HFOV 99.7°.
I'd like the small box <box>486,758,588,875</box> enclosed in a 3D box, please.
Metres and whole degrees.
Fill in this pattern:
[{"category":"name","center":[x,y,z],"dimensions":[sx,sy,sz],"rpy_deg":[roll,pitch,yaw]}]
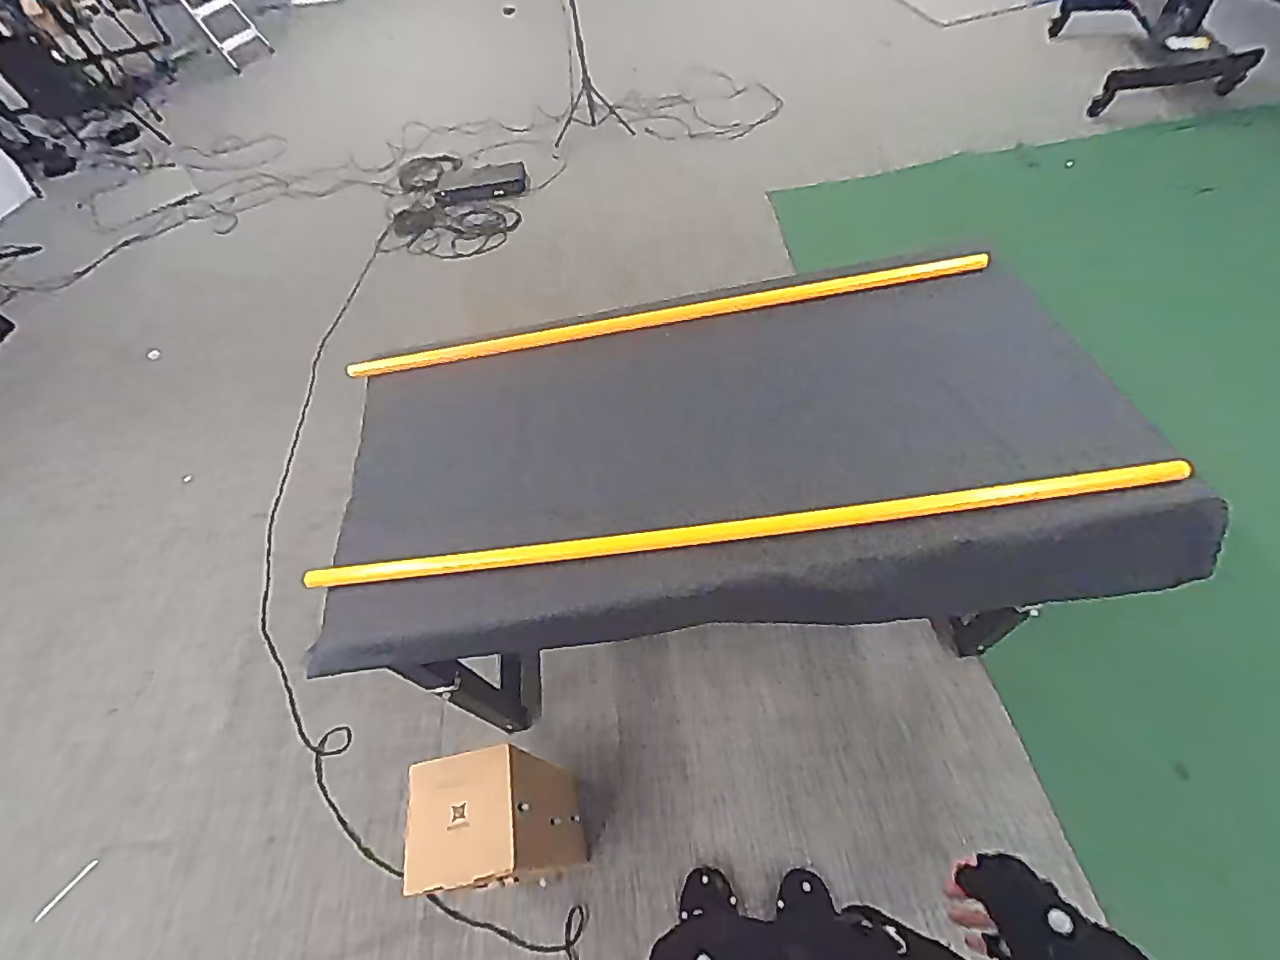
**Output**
[{"category":"small box","center":[-0.219,0.722,1.162],"dimensions":[0.168,0.176,0.179],"rpy_deg":[-16,56,-2]}]
